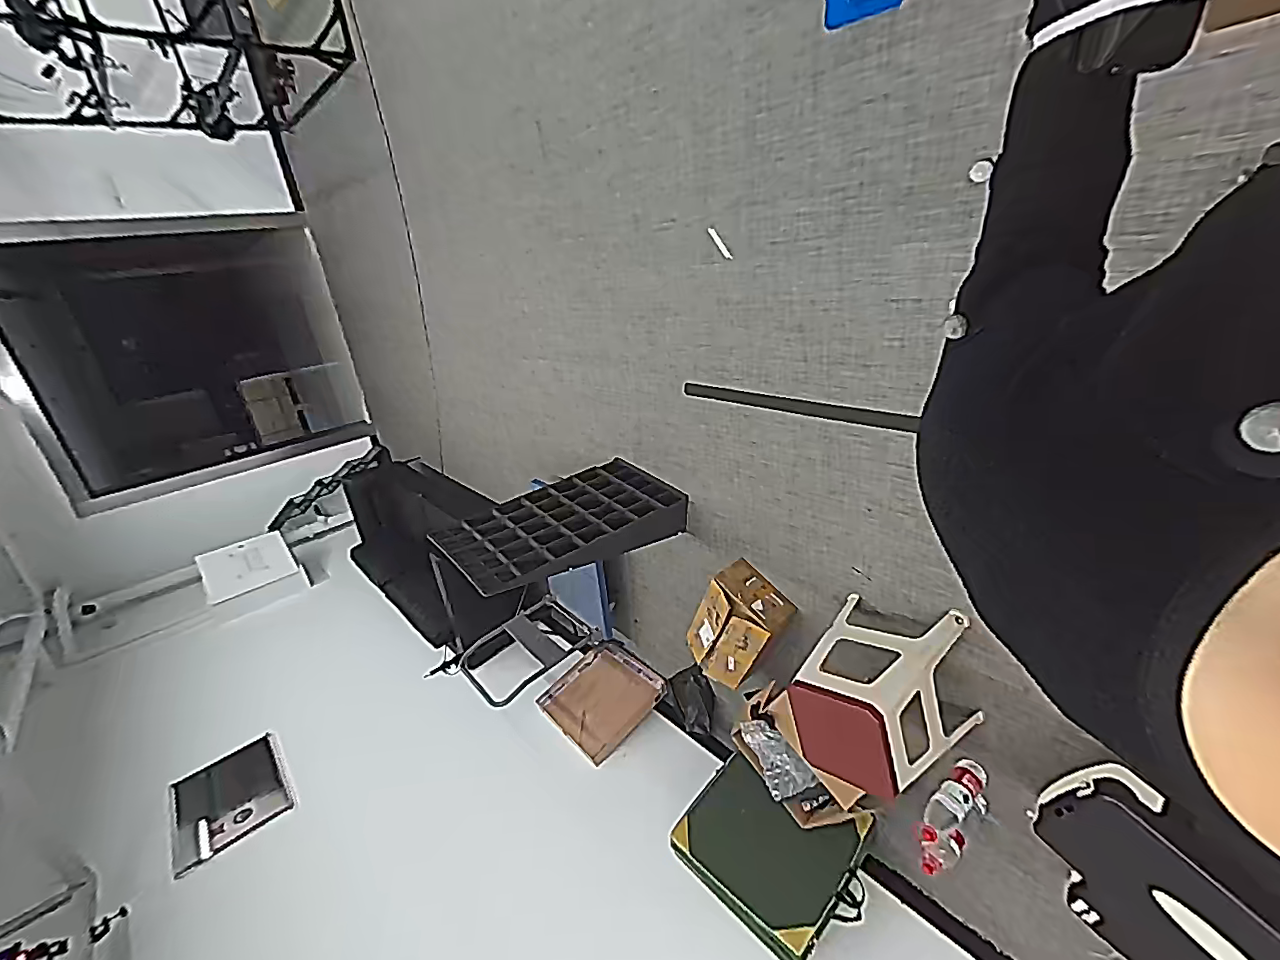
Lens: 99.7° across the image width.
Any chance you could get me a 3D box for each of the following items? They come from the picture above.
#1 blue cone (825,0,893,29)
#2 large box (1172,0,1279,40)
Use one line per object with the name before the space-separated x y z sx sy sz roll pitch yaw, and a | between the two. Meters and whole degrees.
blue cone | 0.392 -1.130 1.157 0.192 0.380 0.193 25 128 44
large box | 0.533 -0.469 0.232 0.408 0.320 0.320 14 123 45
